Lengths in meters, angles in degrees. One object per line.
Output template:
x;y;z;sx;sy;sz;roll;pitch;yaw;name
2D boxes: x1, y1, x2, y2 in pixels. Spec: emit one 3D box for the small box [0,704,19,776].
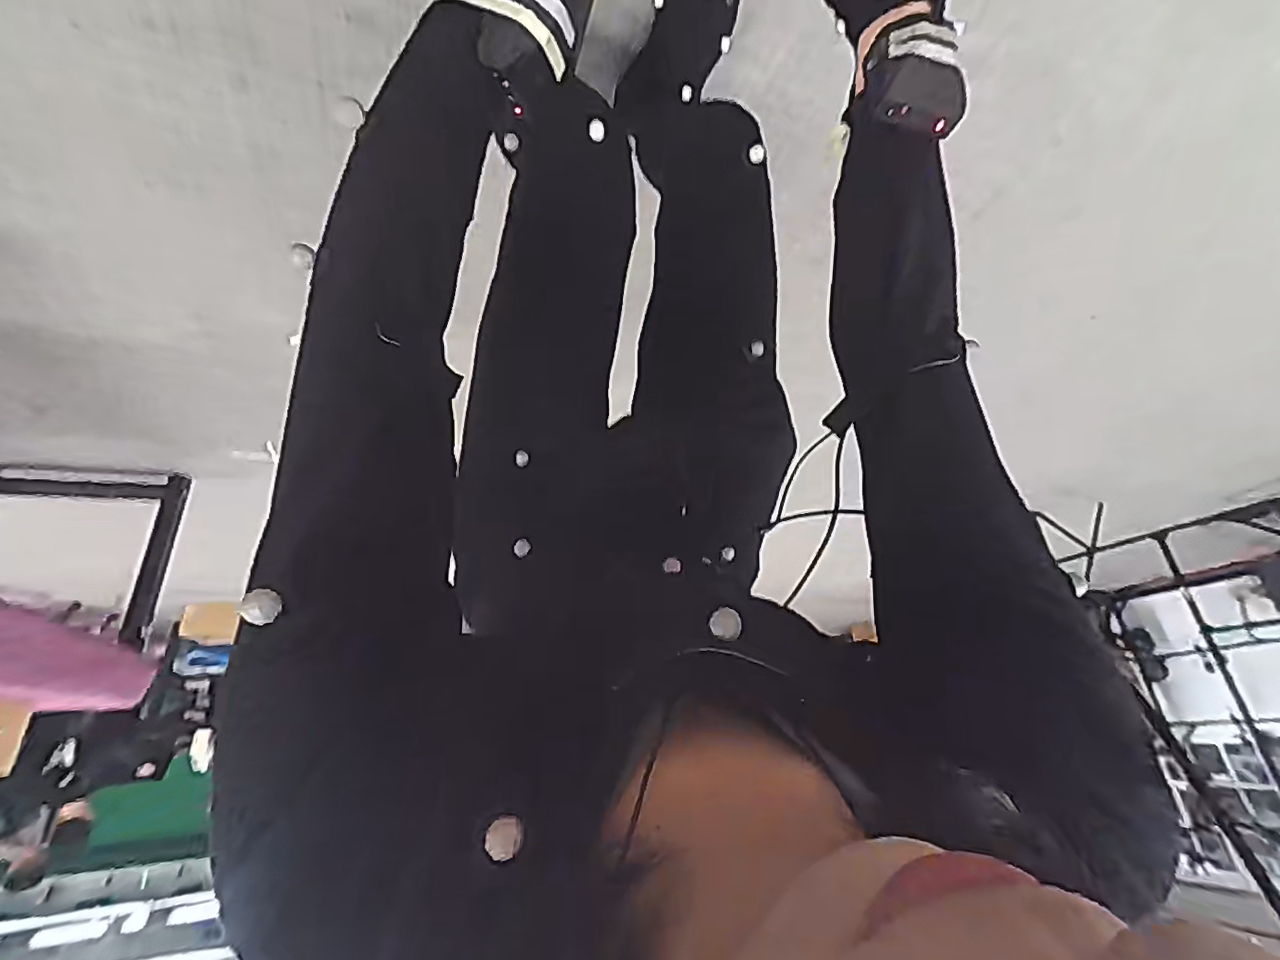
-1.655;0.625;1.284;0.179;0.176;0.168;0;154;-11;small box
